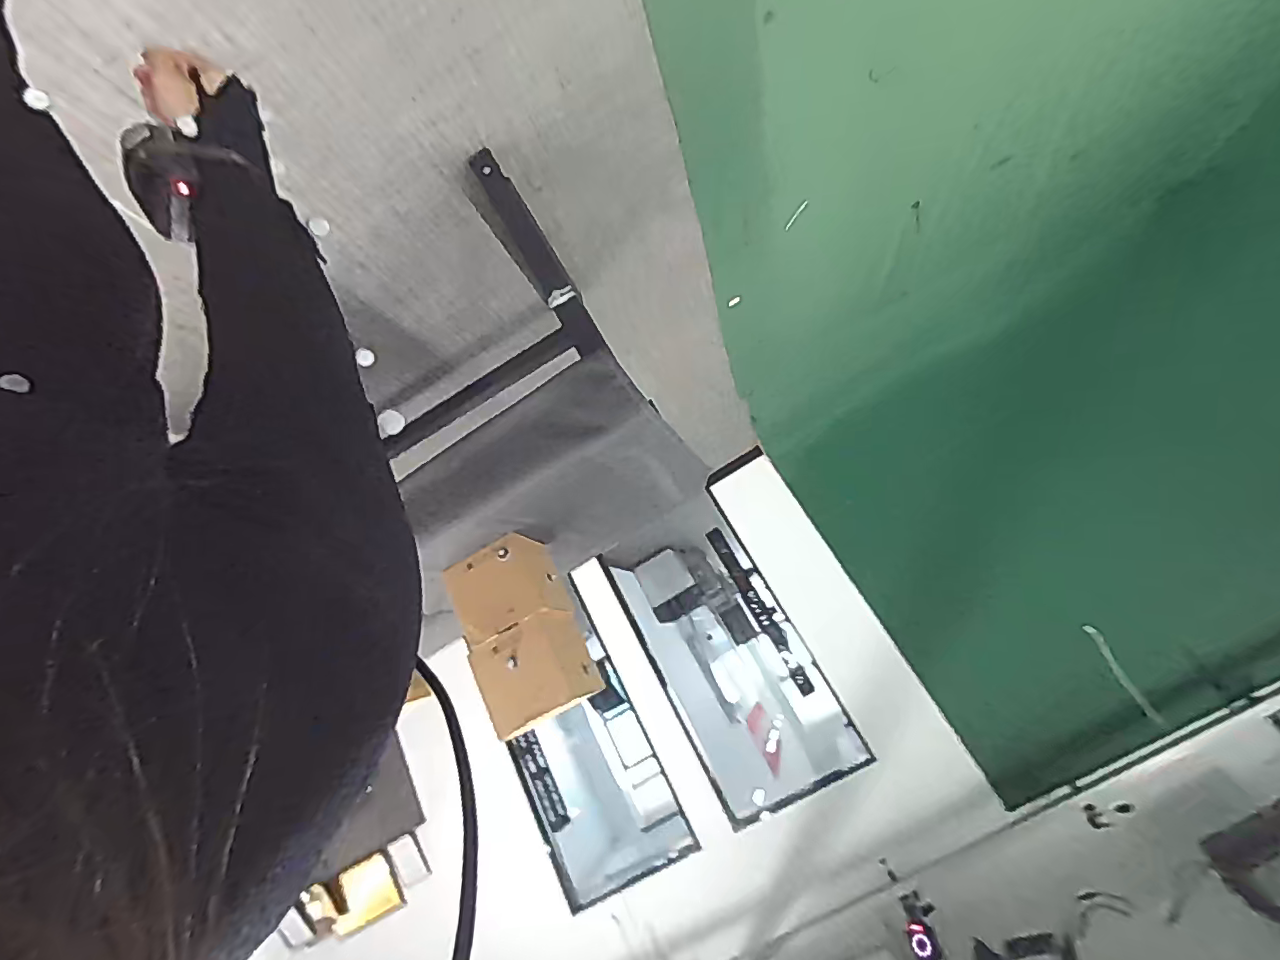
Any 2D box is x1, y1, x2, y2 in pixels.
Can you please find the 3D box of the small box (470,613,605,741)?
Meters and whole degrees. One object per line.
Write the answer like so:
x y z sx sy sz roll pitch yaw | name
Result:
-0.195 0.371 1.052 0.168 0.176 0.179 -32 160 5 | small box

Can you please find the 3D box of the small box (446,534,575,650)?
-0.261 0.227 1.098 0.168 0.176 0.179 -30 161 3 | small box
